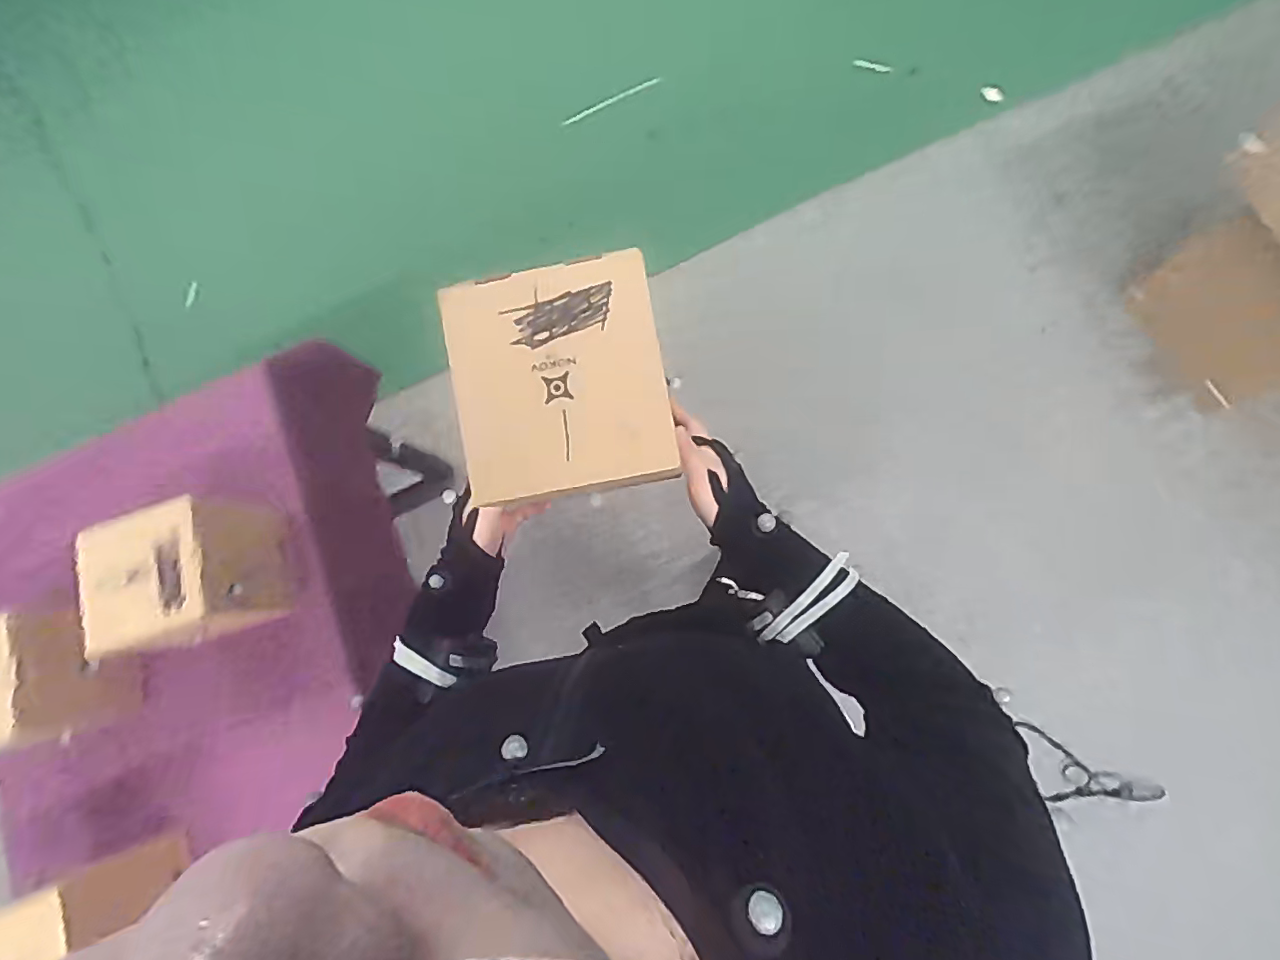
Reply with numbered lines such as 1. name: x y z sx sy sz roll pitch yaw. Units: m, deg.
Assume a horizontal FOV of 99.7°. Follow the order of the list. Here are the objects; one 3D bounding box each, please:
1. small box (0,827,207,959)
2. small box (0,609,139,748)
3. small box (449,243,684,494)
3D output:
1. small box: -0.736 0.606 0.717 0.179 0.176 0.168 -23 78 2
2. small box: -0.888 0.292 0.794 0.179 0.176 0.168 -17 77 3
3. small box: -0.053 -0.084 0.498 0.168 0.176 0.179 -9 88 5
